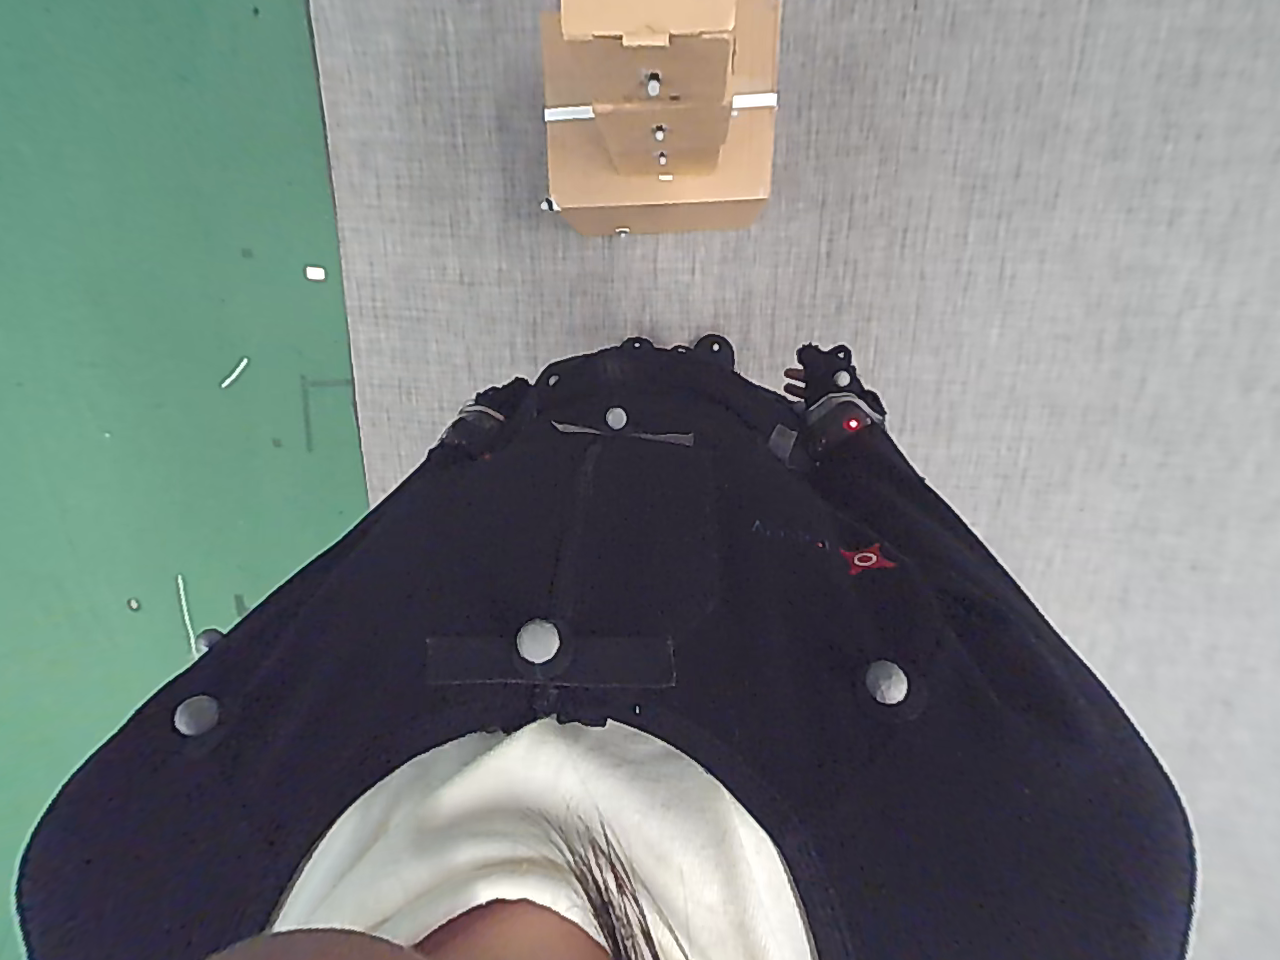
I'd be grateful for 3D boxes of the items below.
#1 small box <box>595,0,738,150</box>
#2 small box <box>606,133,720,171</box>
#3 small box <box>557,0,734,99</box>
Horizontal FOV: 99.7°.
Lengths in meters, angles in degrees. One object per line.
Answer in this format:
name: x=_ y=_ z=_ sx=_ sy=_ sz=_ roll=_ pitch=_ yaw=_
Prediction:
small box: x=0.034 y=-0.558 z=0.718 sx=0.179 sy=0.176 sz=0.168 roll=-2 pitch=107 yaw=6
small box: x=0.043 y=-0.610 z=0.873 sx=0.179 sy=0.176 sz=0.168 roll=2 pitch=107 yaw=4
small box: x=0.016 y=-0.521 z=0.559 sx=0.168 sy=0.176 sz=0.179 roll=5 pitch=108 yaw=6
